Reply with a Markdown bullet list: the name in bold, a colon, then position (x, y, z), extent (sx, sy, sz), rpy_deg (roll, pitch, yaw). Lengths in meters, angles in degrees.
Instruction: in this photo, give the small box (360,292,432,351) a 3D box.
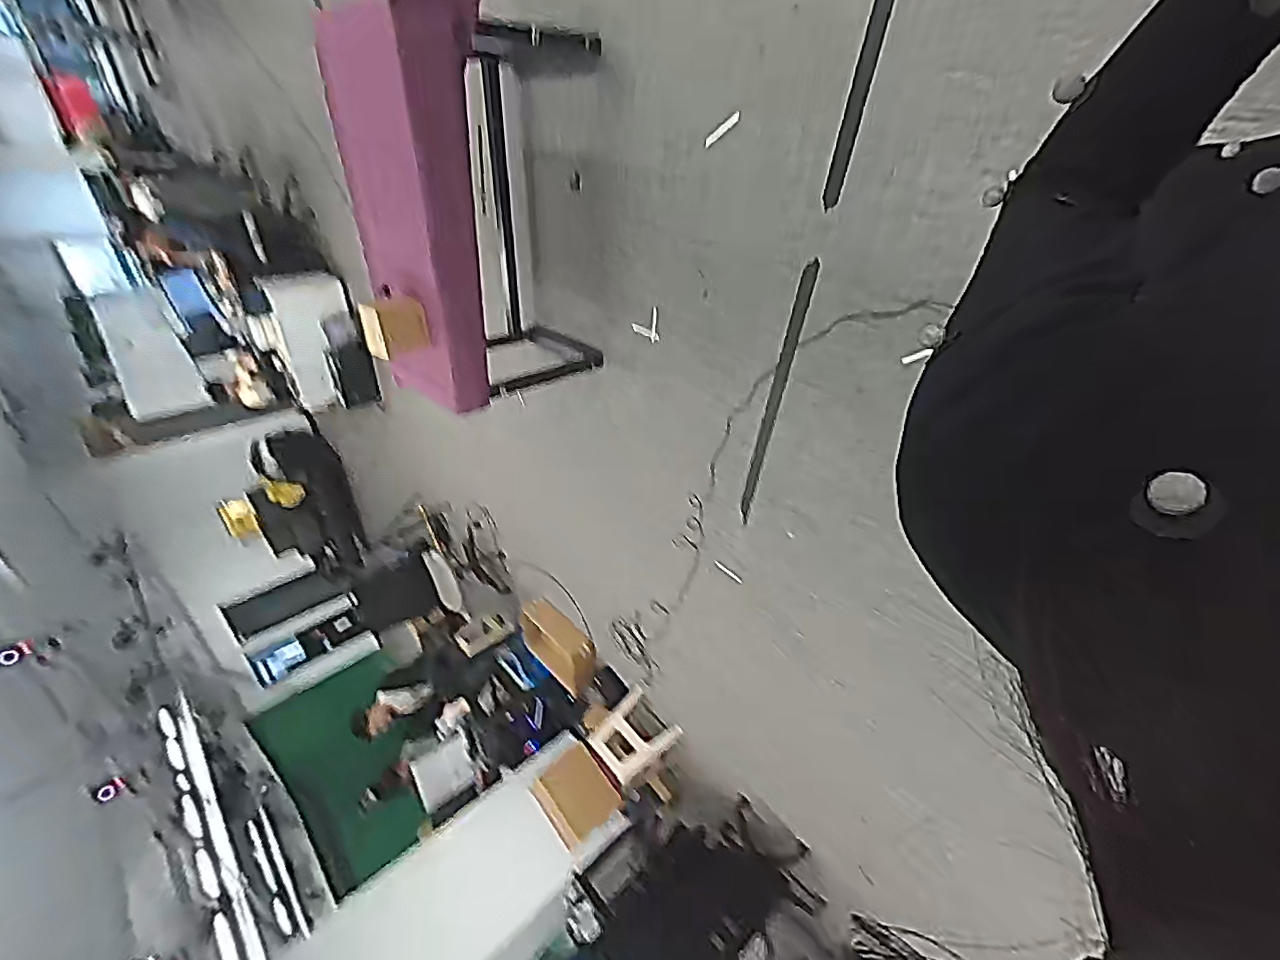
- **small box**: position (-0.873, -0.576, 1.944), extent (0.179, 0.176, 0.168), rpy_deg (27, 130, 41)
